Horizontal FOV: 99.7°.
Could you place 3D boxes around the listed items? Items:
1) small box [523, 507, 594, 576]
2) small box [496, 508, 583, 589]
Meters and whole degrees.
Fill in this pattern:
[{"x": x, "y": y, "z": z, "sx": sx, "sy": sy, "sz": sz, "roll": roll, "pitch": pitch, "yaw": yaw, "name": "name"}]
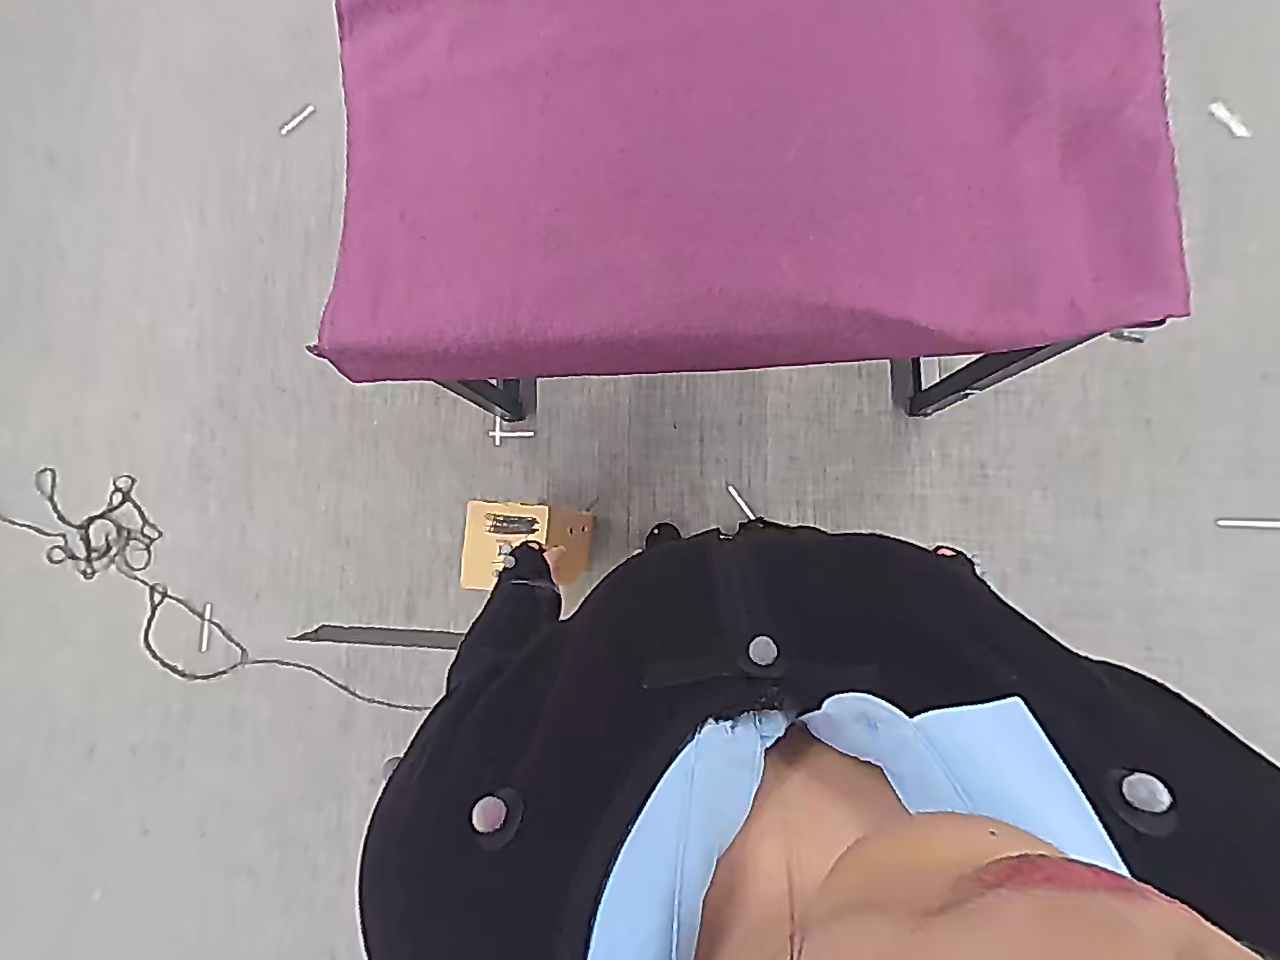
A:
[{"x": -0.226, "y": 0.171, "z": 1.459, "sx": 0.168, "sy": 0.176, "sz": 0.179, "roll": 7, "pitch": 86, "yaw": 6, "name": "small box"}, {"x": -0.233, "y": 0.160, "z": 1.295, "sx": 0.168, "sy": 0.176, "sz": 0.179, "roll": 2, "pitch": 86, "yaw": 6, "name": "small box"}]
